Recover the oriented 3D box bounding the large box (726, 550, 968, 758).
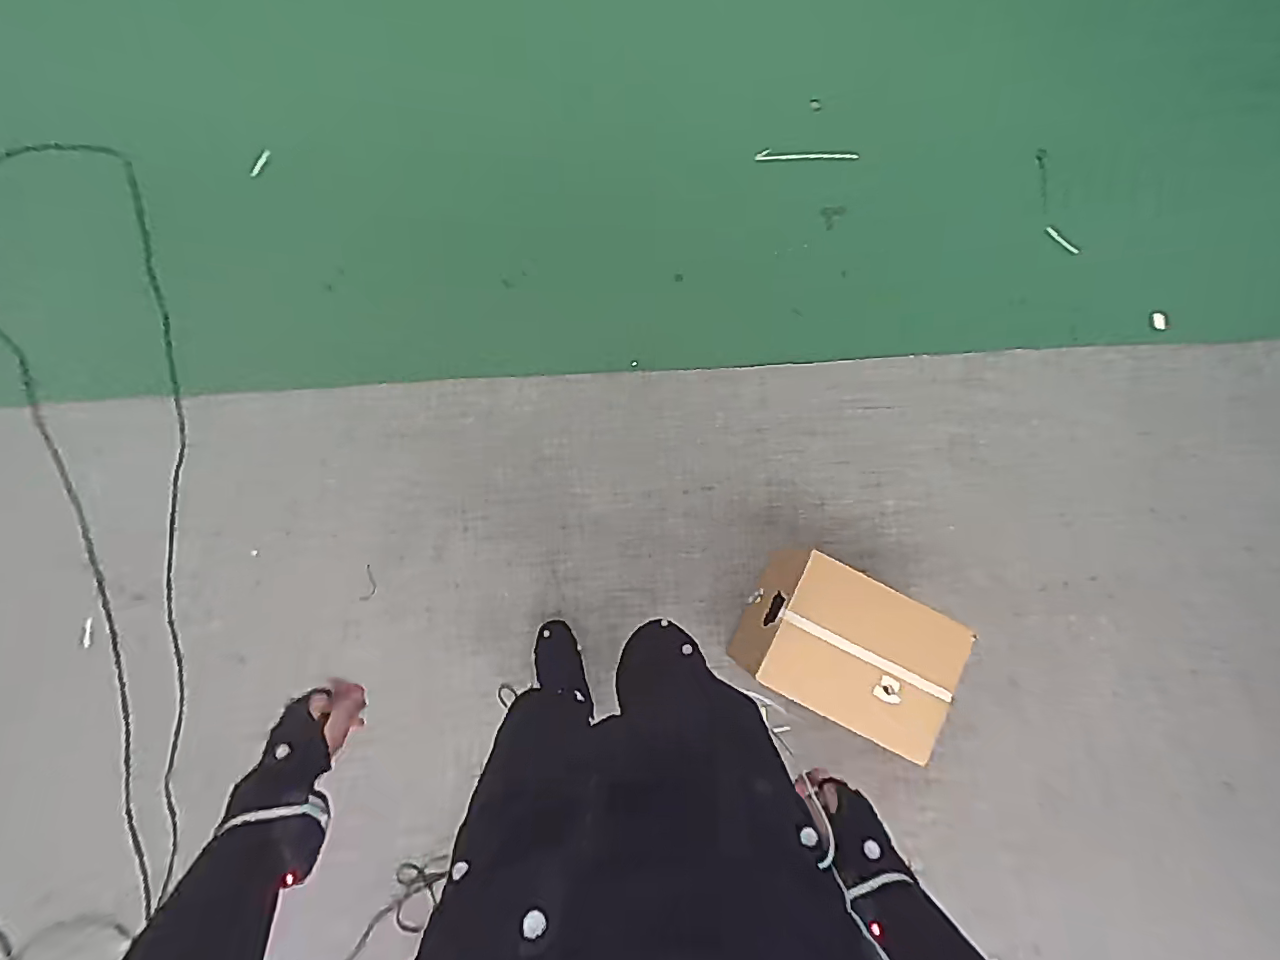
[{"bbox_3d":[0.474,0.395,1.317,0.408,0.320,0.320,27,81,1],"label":"large box"}]
